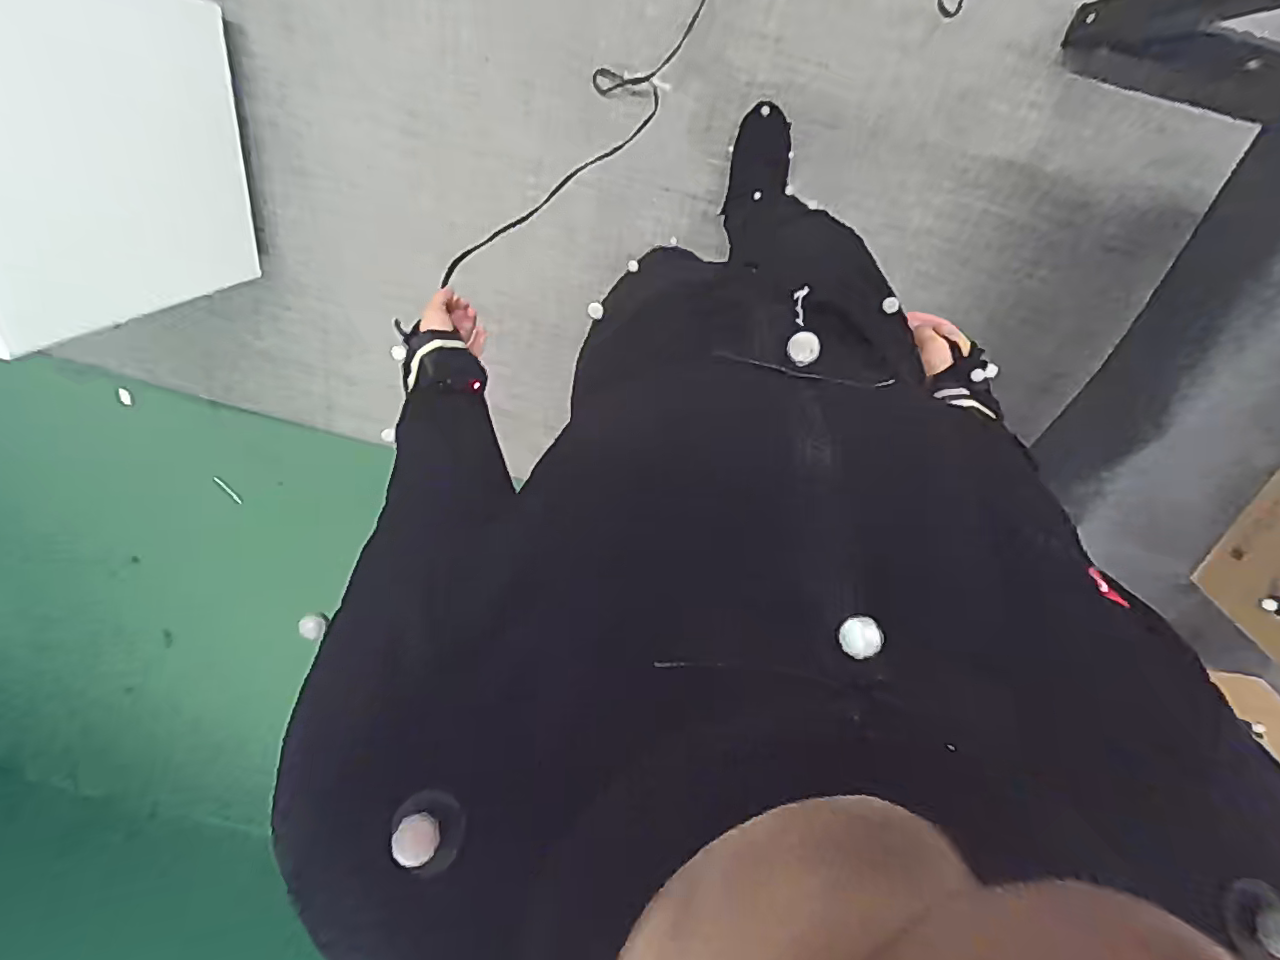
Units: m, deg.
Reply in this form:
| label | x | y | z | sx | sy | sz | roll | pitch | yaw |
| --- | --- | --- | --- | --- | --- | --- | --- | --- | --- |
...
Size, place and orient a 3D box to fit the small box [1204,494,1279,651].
| label | x | y | z | sx | sy | sz | roll | pitch | yaw |
| --- | --- | --- | --- | --- | --- | --- | --- | --- | --- |
| small box | 0.718 | 0.101 | 0.508 | 0.179 | 0.176 | 0.168 | 5 | 124 | 4 |
